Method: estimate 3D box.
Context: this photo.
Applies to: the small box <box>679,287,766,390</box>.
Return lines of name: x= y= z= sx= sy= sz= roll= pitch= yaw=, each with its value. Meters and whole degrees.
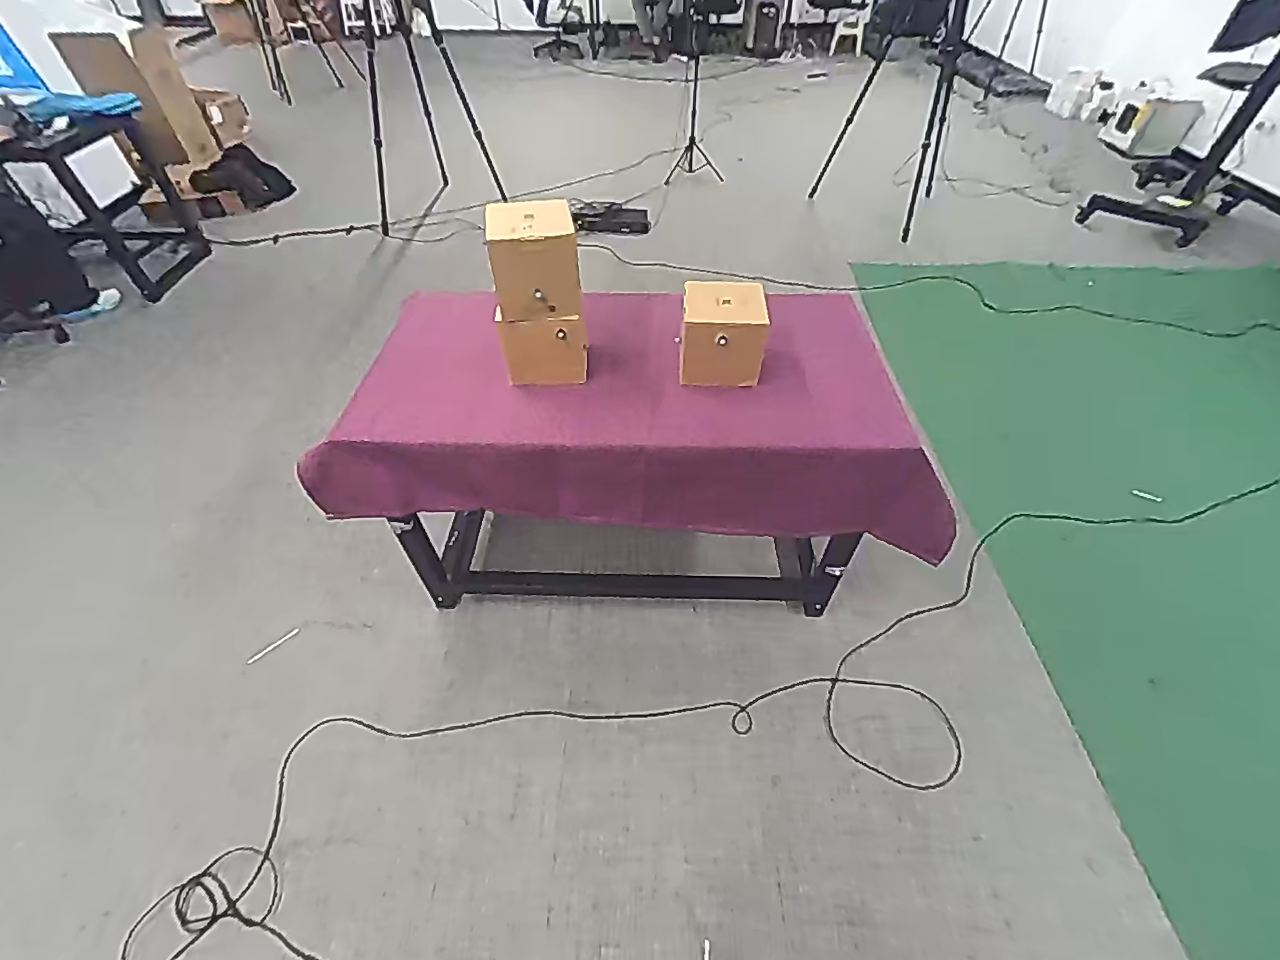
small box: x=0.179 y=-0.318 z=1.220 sx=0.179 sy=0.176 sz=0.168 roll=3 pitch=48 yaw=2

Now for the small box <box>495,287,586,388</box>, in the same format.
small box: x=-0.217 y=-0.323 z=1.229 sx=0.179 sy=0.176 sz=0.168 roll=-2 pitch=47 yaw=-3

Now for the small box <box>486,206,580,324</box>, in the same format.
small box: x=-0.218 y=-0.443 z=1.115 sx=0.168 sy=0.176 sz=0.179 roll=-8 pitch=48 yaw=-7
